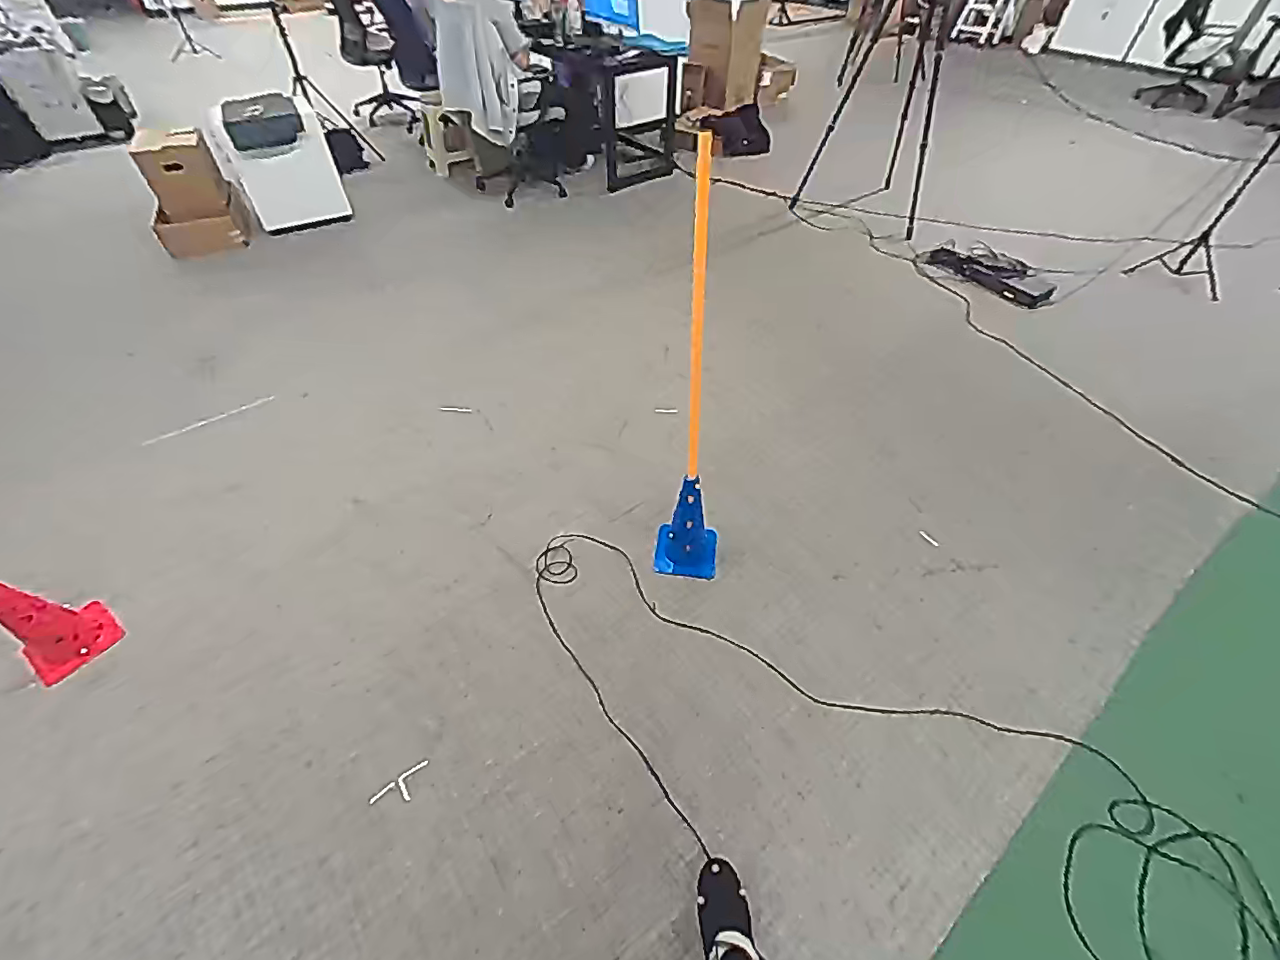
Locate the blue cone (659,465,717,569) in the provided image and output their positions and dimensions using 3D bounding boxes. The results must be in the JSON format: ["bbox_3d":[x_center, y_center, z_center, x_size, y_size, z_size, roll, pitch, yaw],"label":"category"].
[{"bbox_3d":[0.159,0.099,1.670,0.192,0.380,0.193,5,46,5],"label":"blue cone"}]
